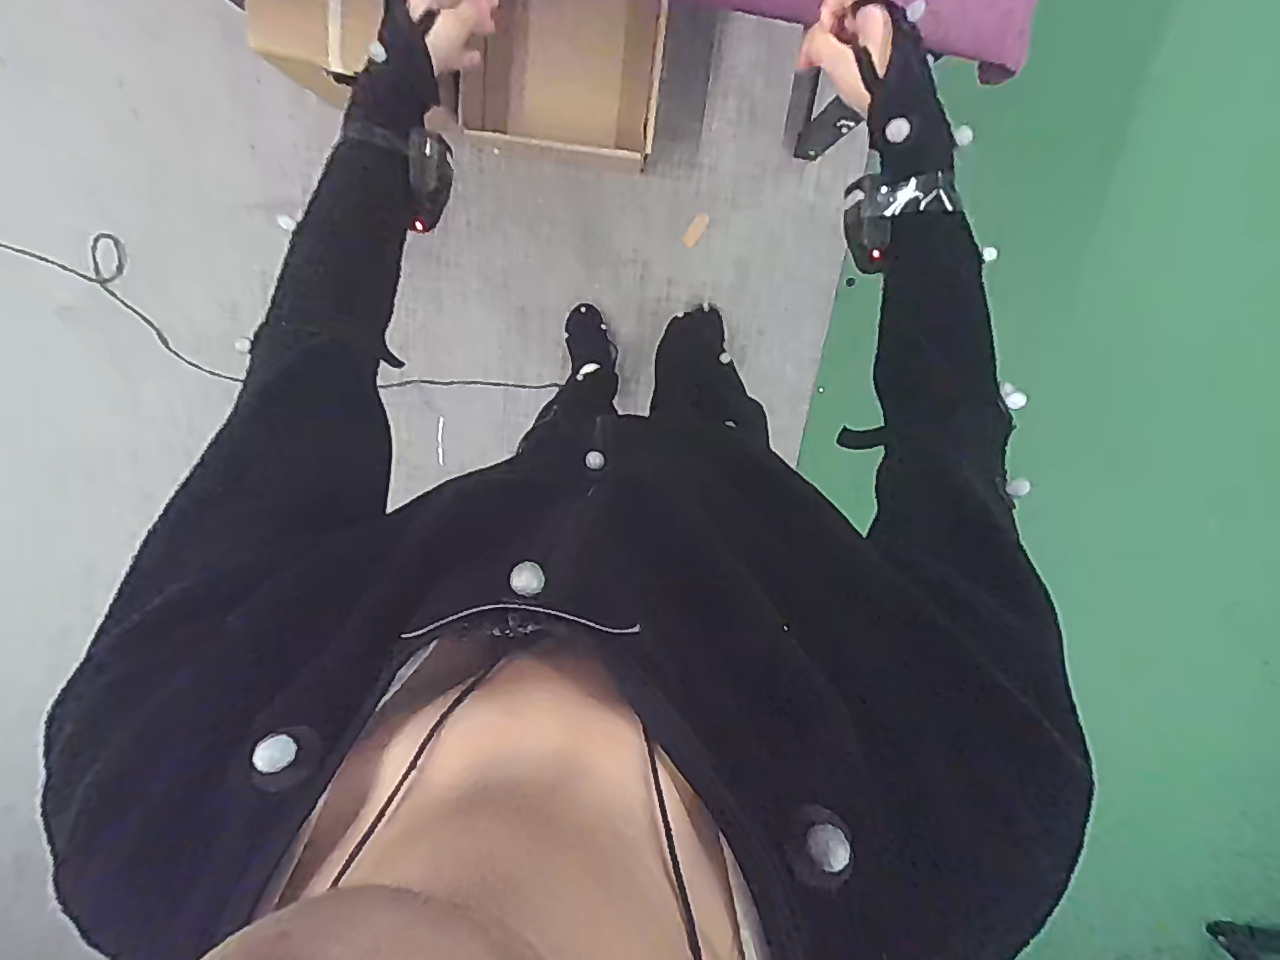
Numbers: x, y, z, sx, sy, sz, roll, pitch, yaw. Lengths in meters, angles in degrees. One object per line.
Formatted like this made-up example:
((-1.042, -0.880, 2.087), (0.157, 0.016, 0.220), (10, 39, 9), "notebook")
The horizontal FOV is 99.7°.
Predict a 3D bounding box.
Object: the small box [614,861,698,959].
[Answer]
((0.042, 1.205, 1.487), (0.168, 0.176, 0.179), (-29, 105, 7), "small box")
